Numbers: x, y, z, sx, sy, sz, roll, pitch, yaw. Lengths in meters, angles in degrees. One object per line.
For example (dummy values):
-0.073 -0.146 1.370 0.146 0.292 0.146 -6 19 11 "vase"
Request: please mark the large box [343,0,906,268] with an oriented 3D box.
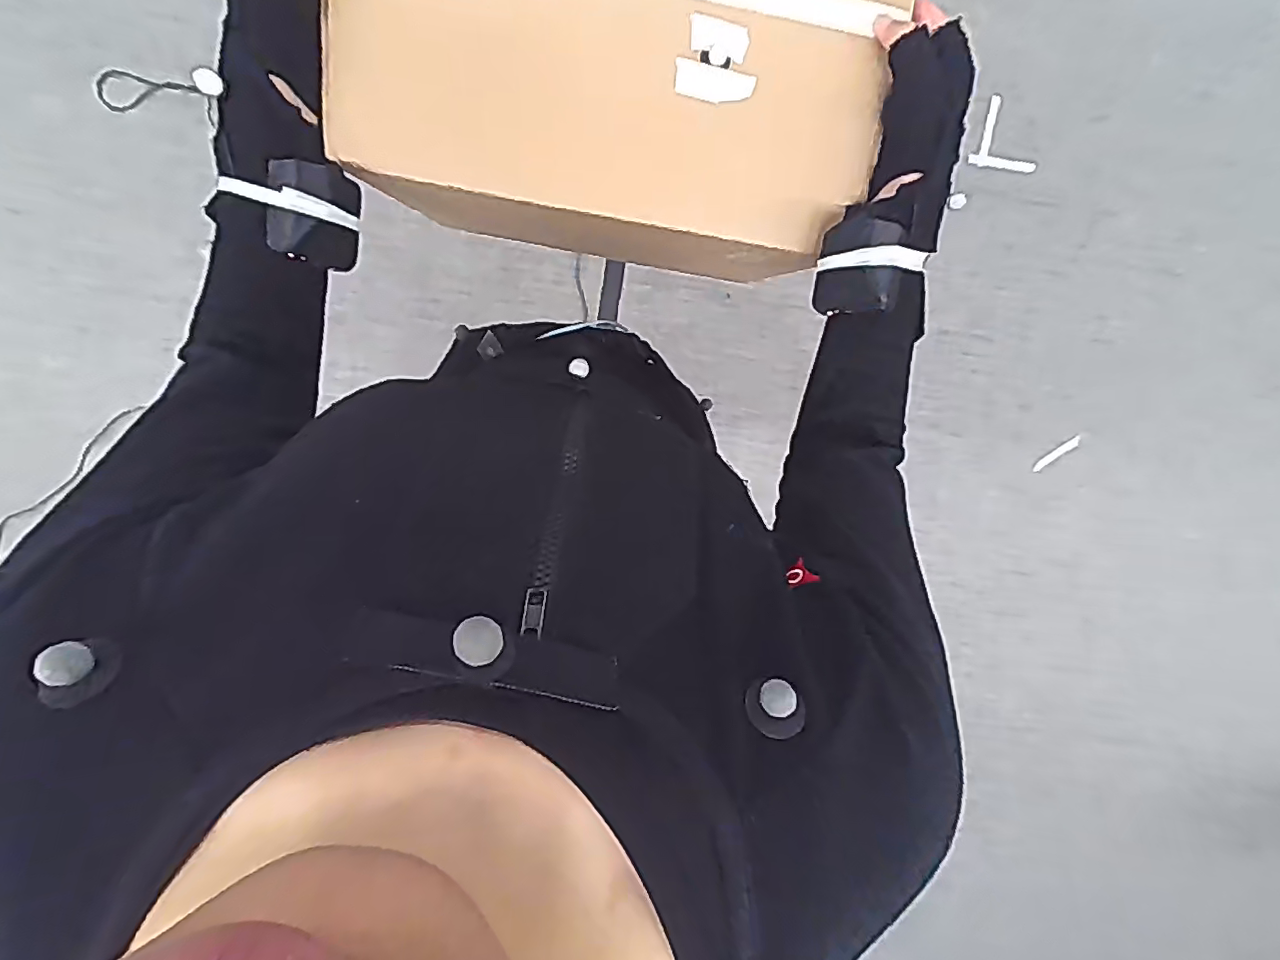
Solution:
-0.016 -0.405 0.521 0.408 0.320 0.320 7 108 -8 "large box"
